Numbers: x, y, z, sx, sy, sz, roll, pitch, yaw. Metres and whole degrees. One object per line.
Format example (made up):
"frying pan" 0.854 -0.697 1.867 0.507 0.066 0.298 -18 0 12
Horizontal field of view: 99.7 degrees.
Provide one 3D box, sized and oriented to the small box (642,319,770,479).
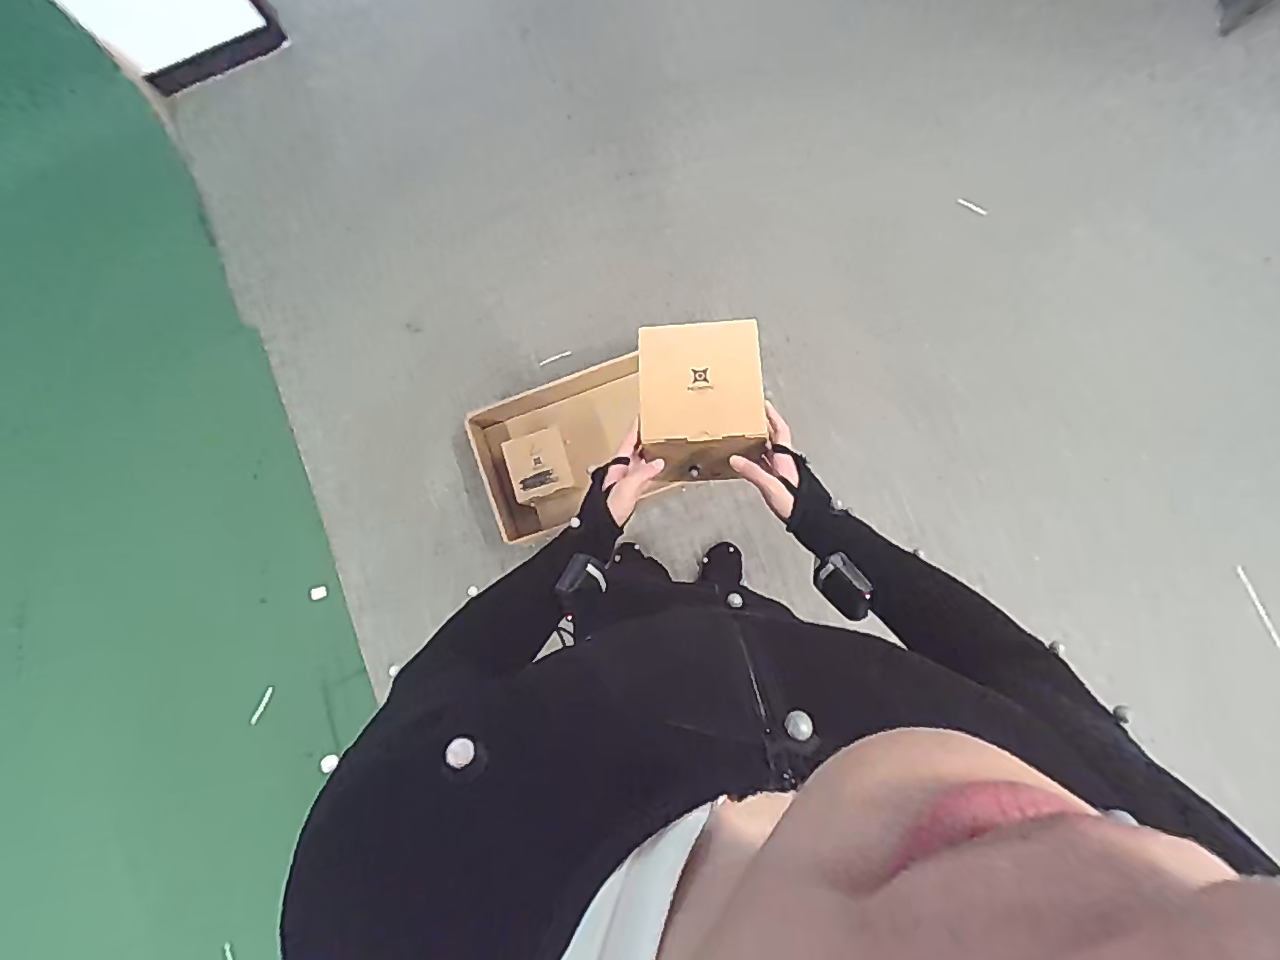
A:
"small box" 0.089 -0.111 0.790 0.168 0.176 0.179 -2 72 4
